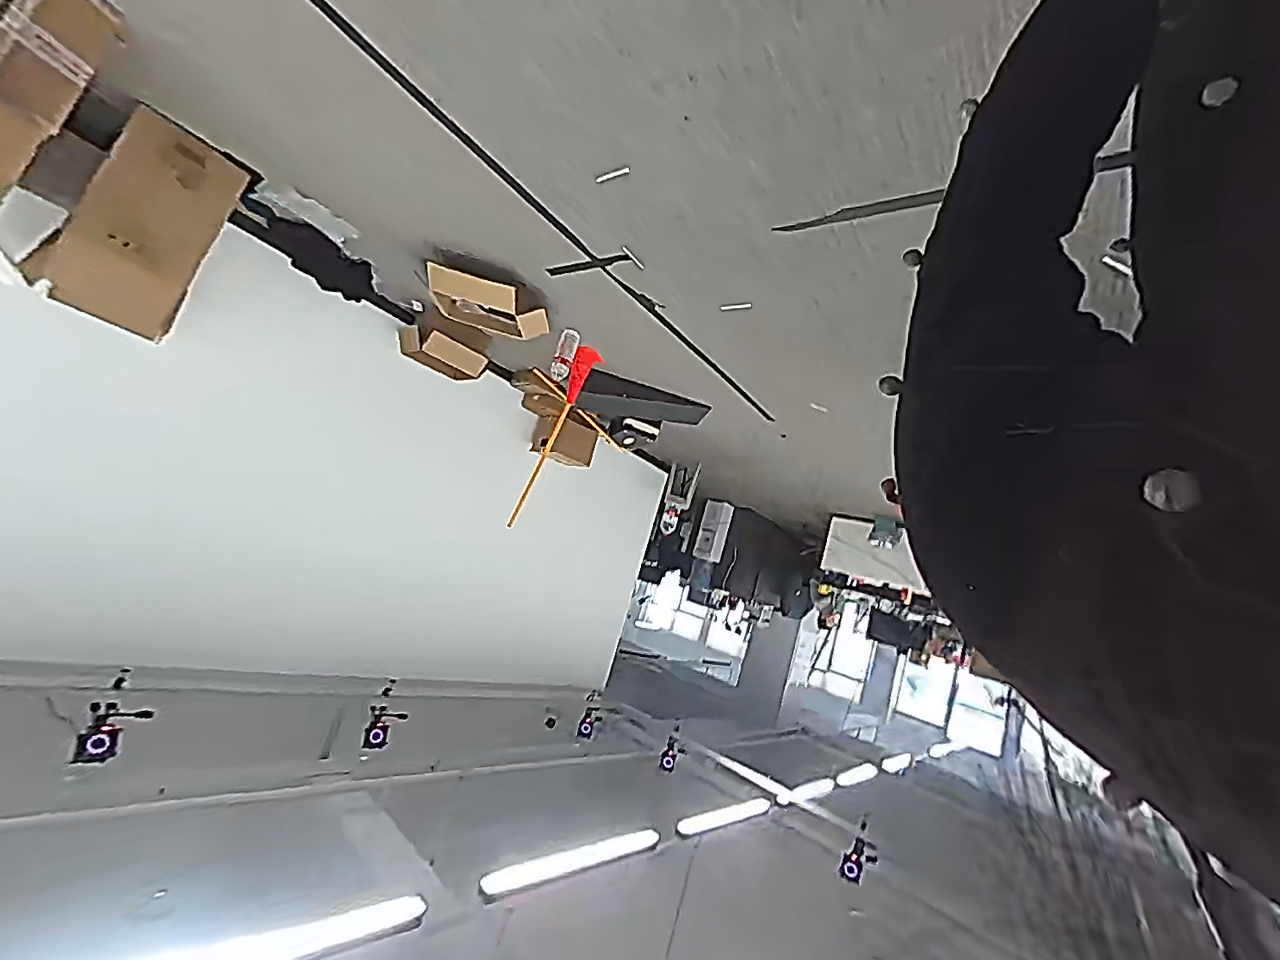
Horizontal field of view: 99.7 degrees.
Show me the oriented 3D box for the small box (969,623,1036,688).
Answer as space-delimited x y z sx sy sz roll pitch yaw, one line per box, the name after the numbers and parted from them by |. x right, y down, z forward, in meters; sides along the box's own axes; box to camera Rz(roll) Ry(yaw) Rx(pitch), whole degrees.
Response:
1.226 0.591 1.833 0.168 0.176 0.179 12 171 34 | small box
